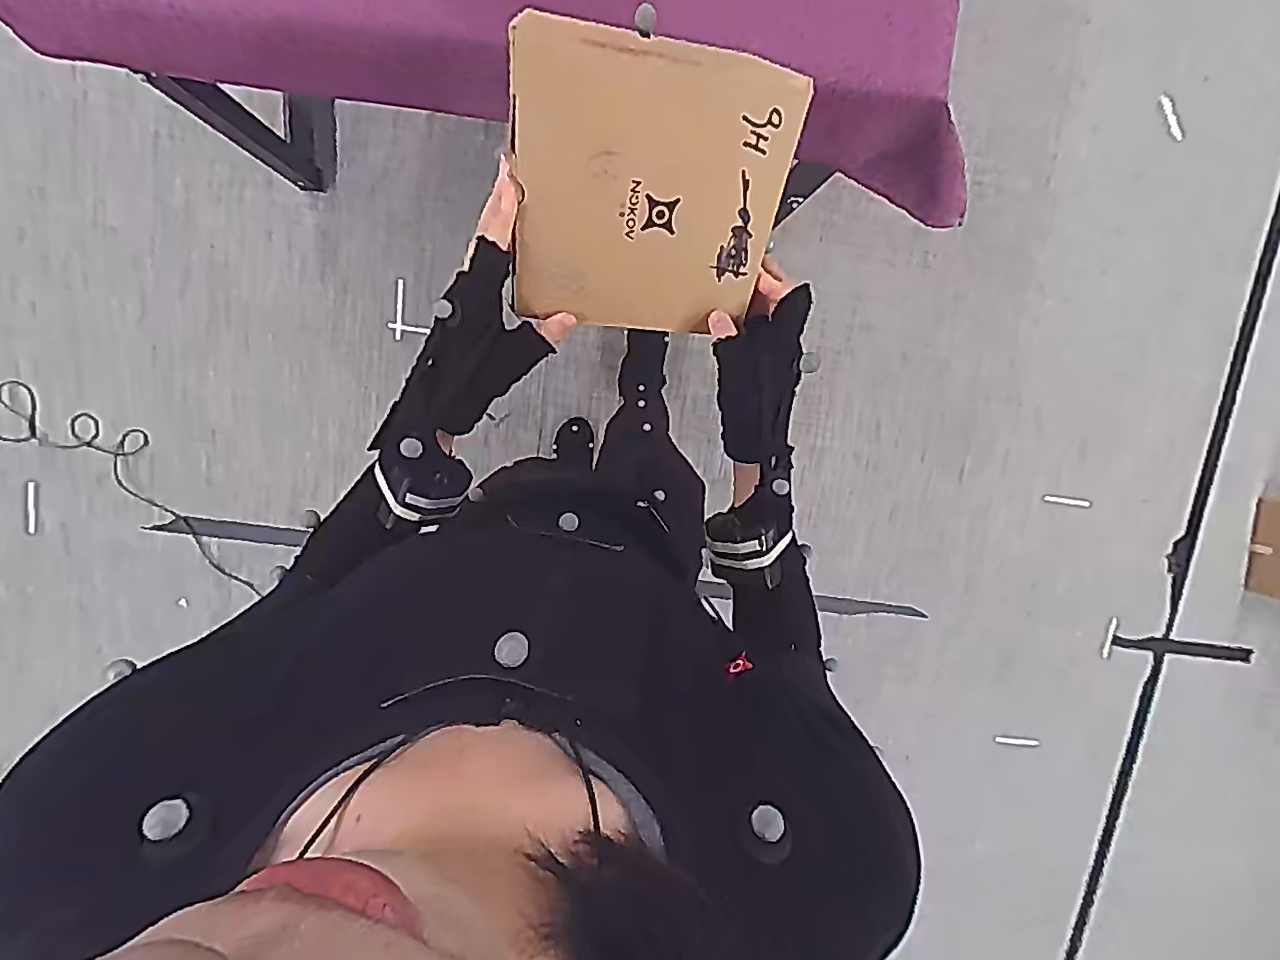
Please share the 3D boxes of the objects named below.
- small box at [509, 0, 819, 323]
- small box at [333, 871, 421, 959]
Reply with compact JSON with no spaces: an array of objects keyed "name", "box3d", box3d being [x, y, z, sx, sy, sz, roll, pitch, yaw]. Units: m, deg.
[{"name":"small box","box3d":[-0.001,-0.238,0.406,0.179,0.176,0.168,3,131,-10]},{"name":"small box","box3d":[-0.731,1.235,1.513,0.179,0.176,0.168,3,99,-7]}]
